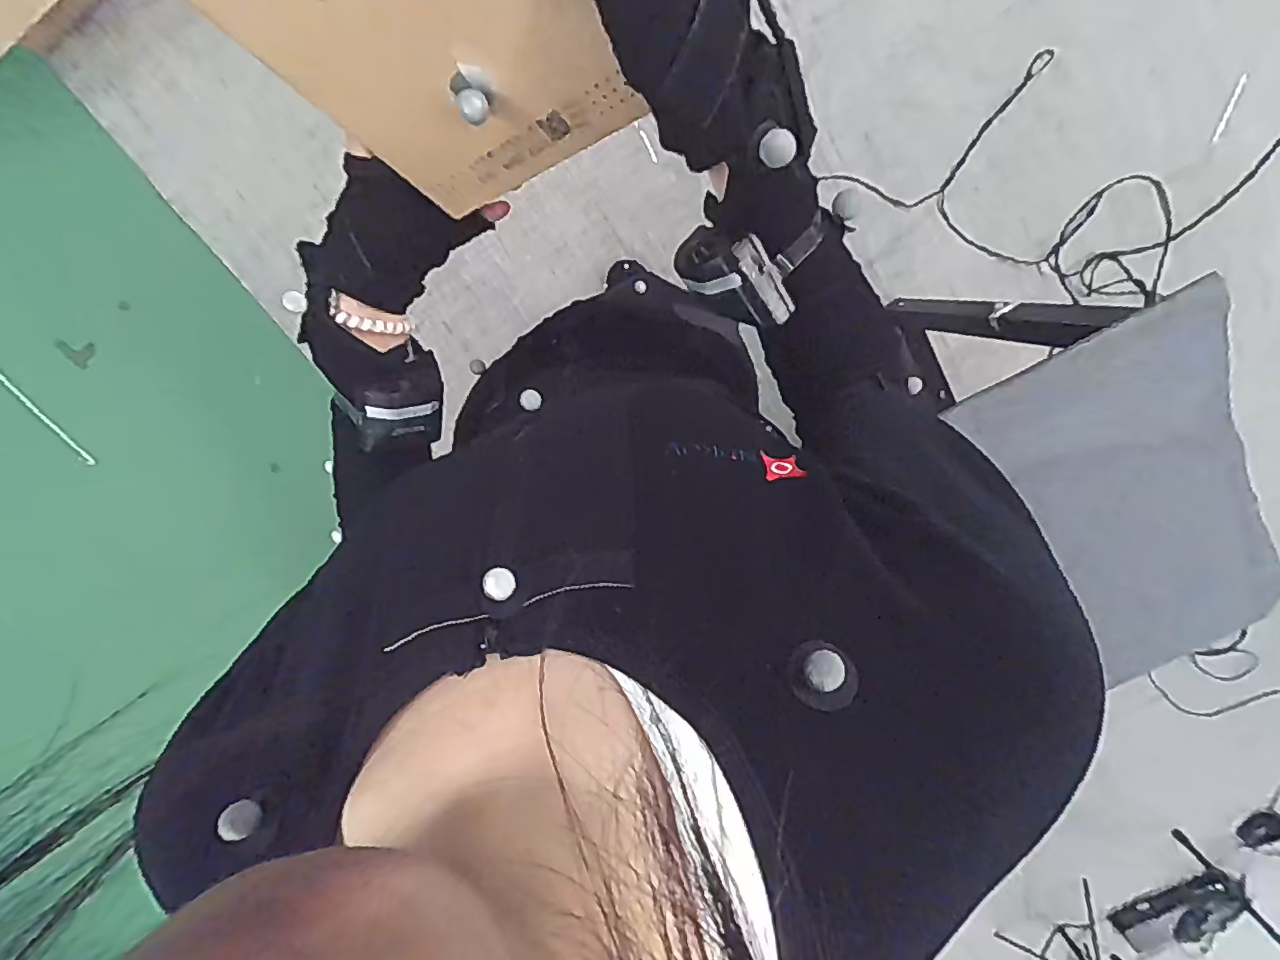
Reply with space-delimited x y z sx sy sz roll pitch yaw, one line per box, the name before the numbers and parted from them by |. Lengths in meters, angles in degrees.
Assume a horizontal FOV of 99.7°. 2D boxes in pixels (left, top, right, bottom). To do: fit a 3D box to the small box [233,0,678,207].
small box | -0.088 -0.285 0.272 0.168 0.176 0.179 -8 71 31
